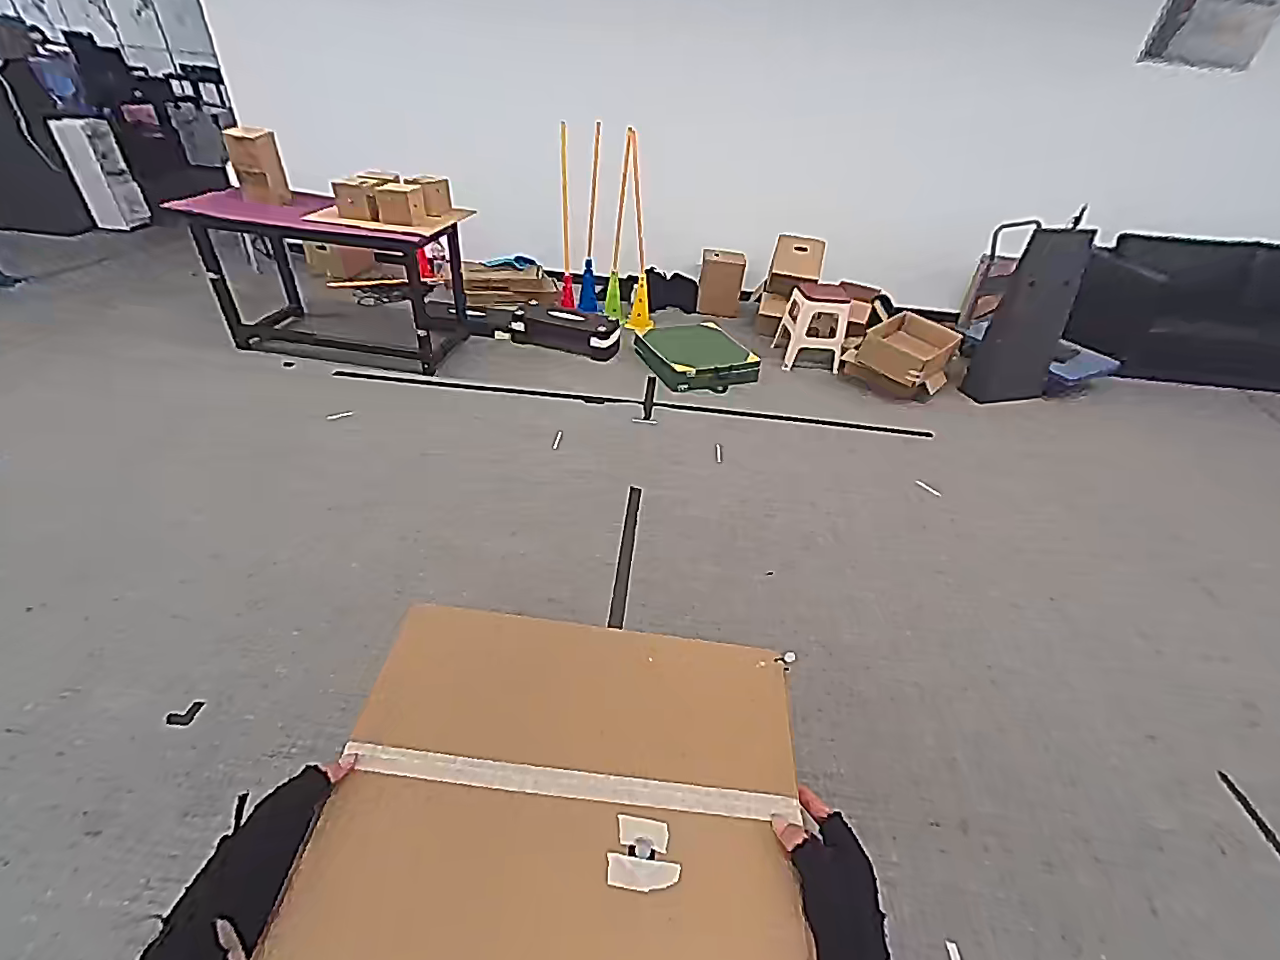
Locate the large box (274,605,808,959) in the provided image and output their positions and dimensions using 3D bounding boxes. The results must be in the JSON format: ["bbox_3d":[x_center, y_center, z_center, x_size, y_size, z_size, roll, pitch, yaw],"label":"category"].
[{"bbox_3d":[-0.073,0.373,0.598,0.408,0.320,0.320,8,46,0],"label":"large box"}]
